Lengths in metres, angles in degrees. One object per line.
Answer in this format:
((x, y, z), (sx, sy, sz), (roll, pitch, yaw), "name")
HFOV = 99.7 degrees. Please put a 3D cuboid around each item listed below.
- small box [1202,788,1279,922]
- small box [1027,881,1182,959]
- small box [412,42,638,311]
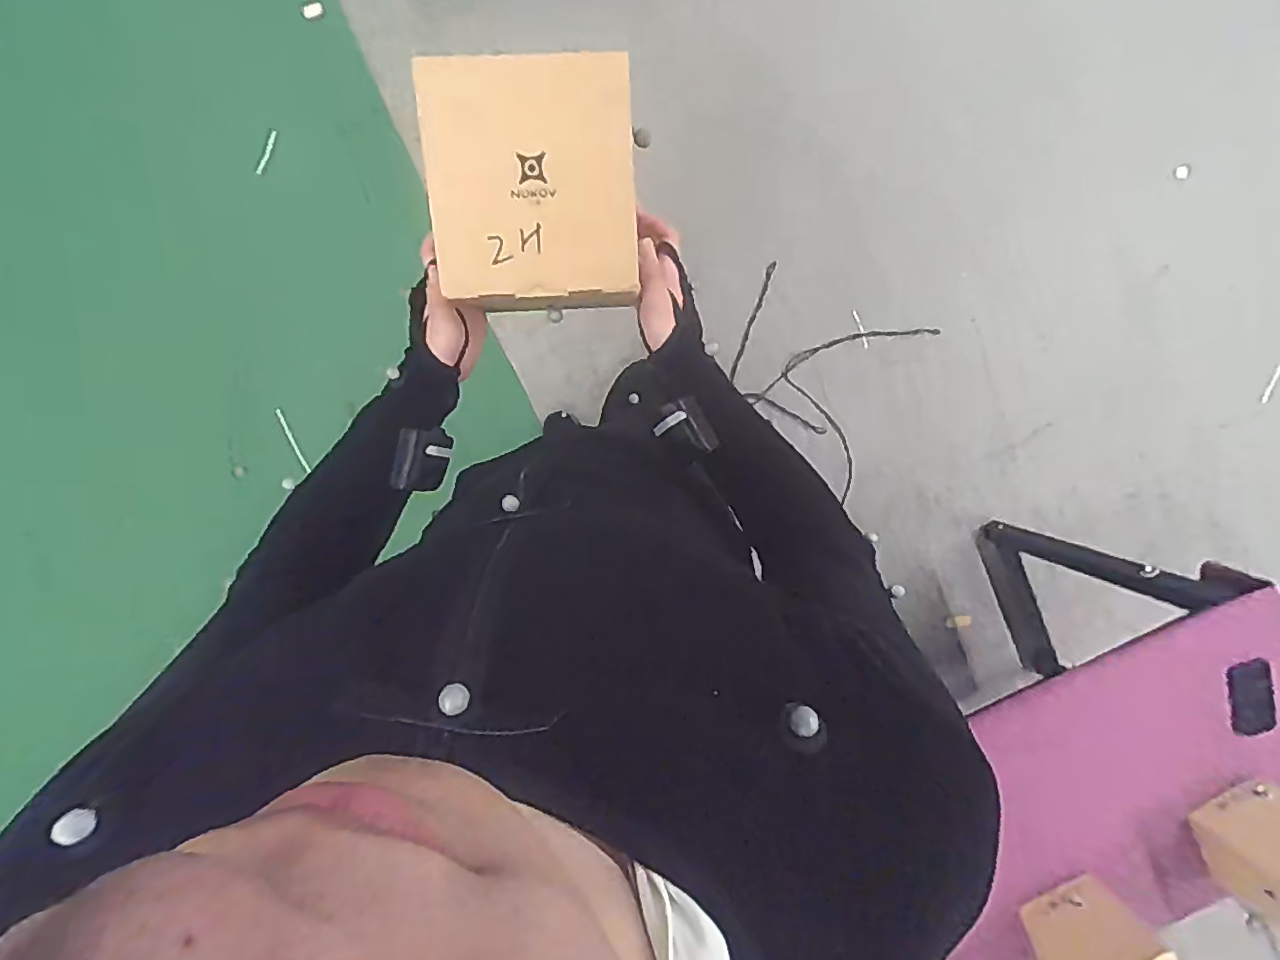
((1.205, 0.708, 0.992), (0.168, 0.176, 0.179), (-29, 100, 1), "small box")
((0.868, 0.902, 0.995), (0.168, 0.176, 0.179), (-26, 98, -1), "small box")
((-0.090, -0.255, 0.495), (0.168, 0.176, 0.179), (-3, 103, -2), "small box")
